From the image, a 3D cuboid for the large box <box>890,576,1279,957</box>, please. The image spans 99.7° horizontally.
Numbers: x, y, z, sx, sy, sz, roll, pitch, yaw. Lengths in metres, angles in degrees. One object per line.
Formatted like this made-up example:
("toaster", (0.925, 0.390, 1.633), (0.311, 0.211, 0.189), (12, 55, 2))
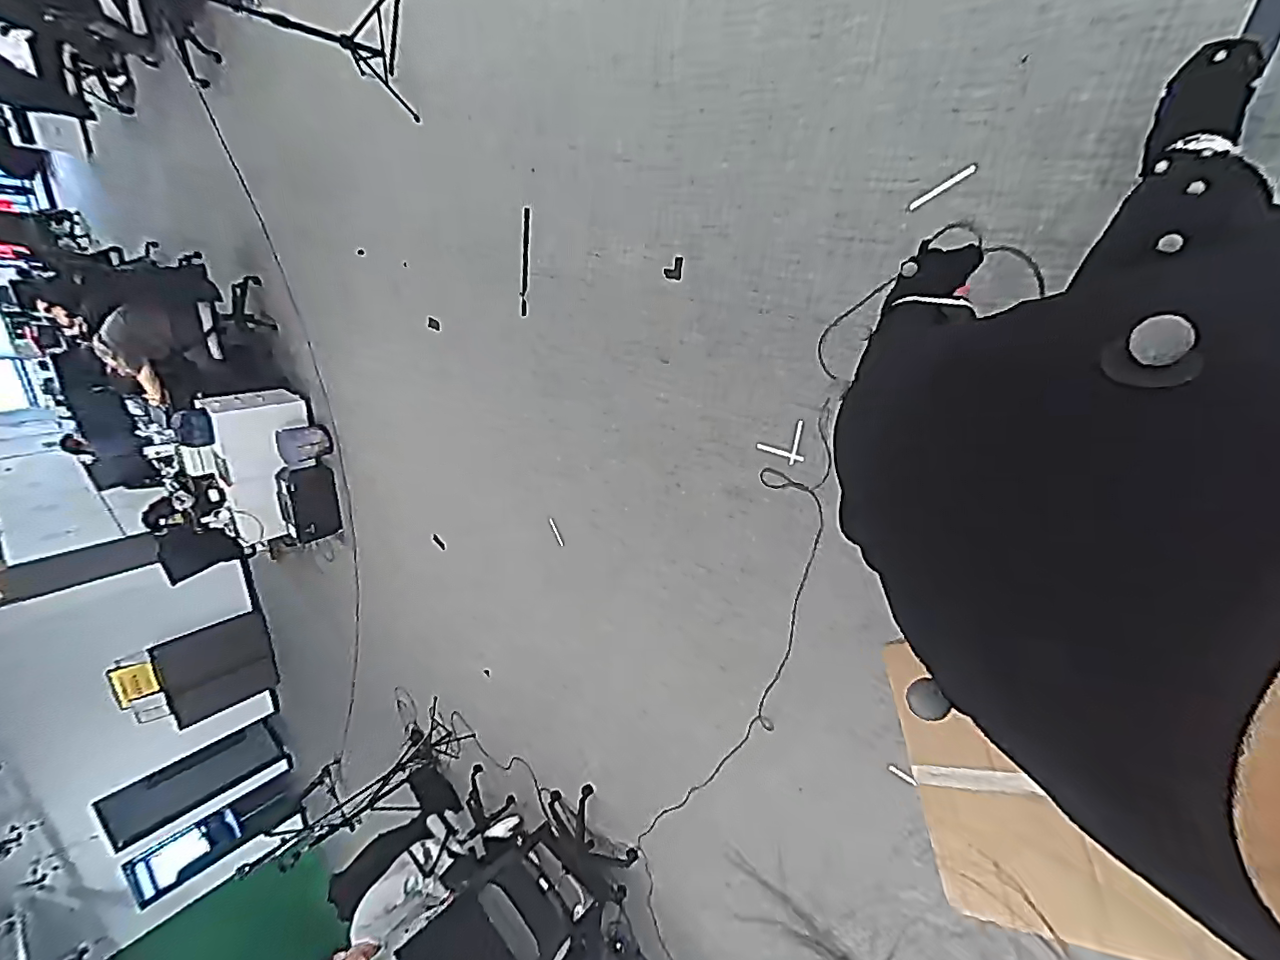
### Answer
("large box", (0.604, 0.307, 0.664), (0.408, 0.320, 0.320), (-25, 68, 46))
